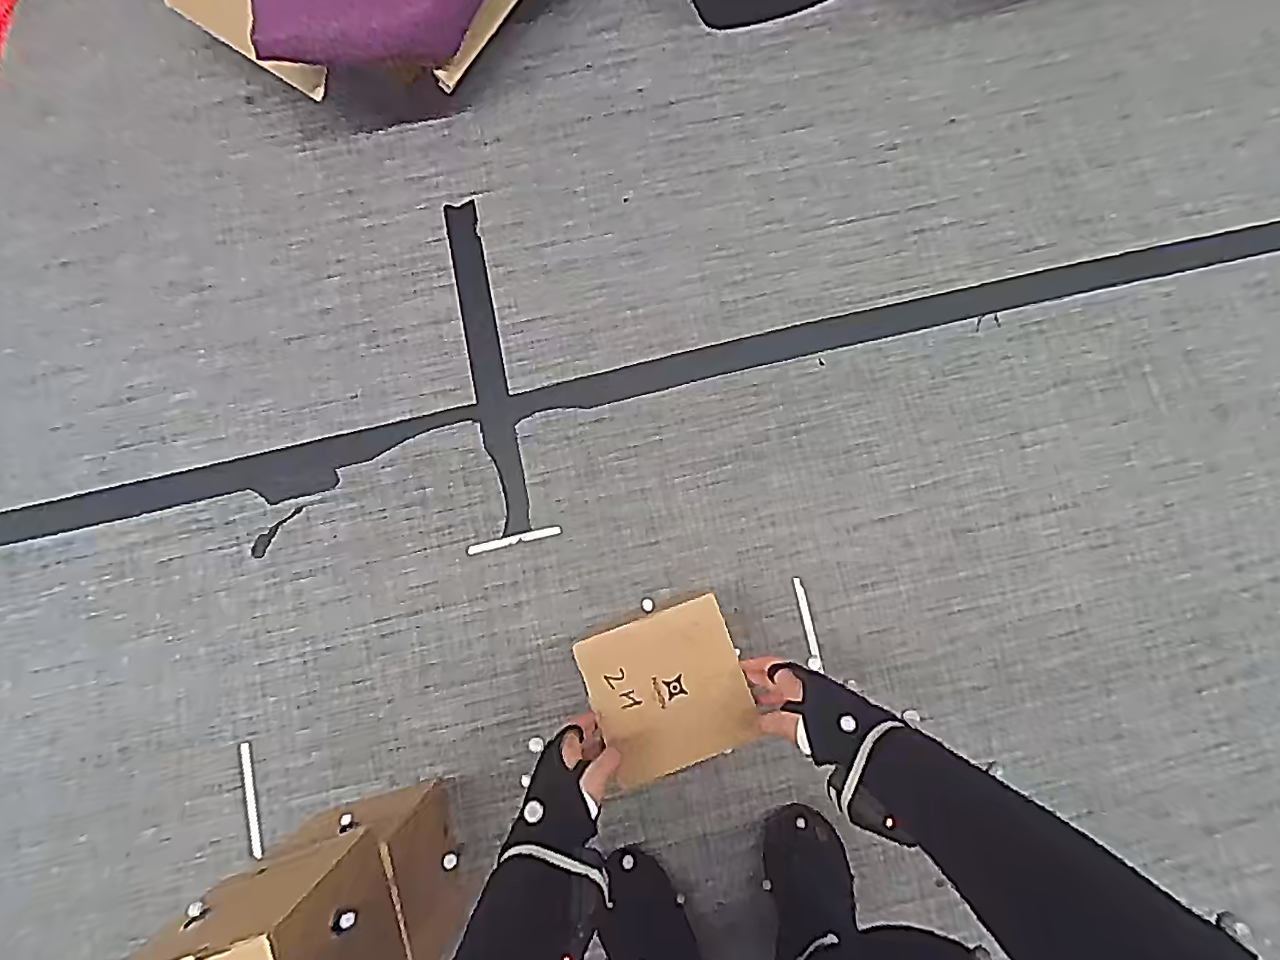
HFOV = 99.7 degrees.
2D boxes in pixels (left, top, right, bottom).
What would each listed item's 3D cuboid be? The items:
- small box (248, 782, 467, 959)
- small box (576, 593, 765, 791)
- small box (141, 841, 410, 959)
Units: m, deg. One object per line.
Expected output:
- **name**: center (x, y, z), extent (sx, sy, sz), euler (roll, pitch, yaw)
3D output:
- **small box**: center (-0.331, 0.498, 0.646), extent (0.179, 0.176, 0.168), euler (-16, 83, -3)
- **small box**: center (0.032, 0.249, 0.684), extent (0.179, 0.176, 0.168), euler (-19, 82, -3)
- **small box**: center (-0.332, 0.466, 0.486), extent (0.168, 0.176, 0.179), euler (-19, 84, -2)
